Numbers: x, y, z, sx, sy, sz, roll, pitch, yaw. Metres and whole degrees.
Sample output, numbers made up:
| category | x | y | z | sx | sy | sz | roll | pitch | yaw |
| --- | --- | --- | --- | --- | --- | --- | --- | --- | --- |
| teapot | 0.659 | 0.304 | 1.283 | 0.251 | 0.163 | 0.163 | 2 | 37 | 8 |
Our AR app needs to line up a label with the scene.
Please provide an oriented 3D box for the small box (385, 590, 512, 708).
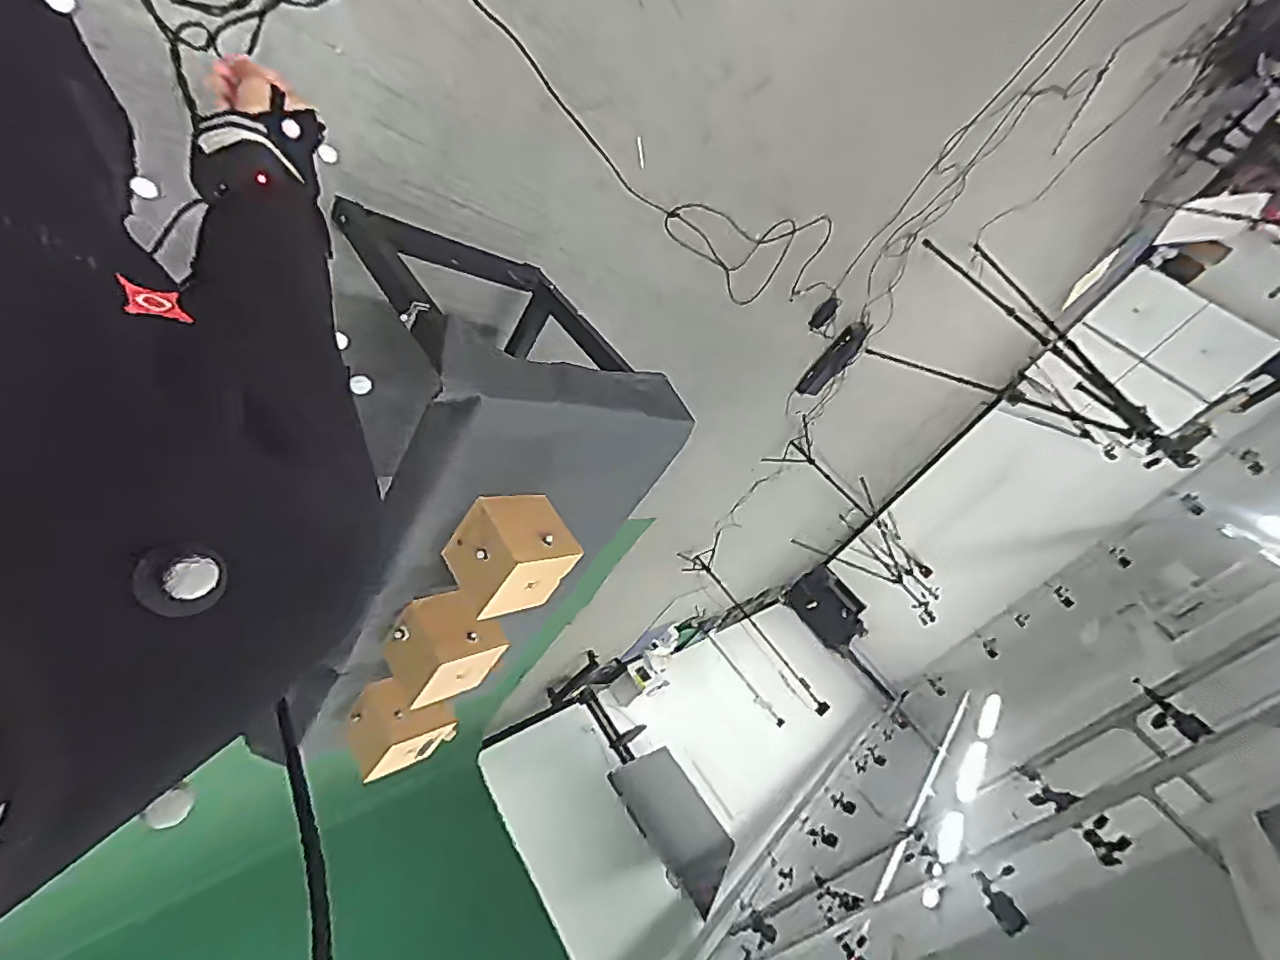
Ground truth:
| category | x | y | z | sx | sy | sz | roll | pitch | yaw |
| --- | --- | --- | --- | --- | --- | --- | --- | --- | --- |
| small box | -0.424 | 0.362 | 1.194 | 0.179 | 0.176 | 0.168 | 0 | 133 | -53 |

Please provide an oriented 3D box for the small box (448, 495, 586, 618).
| category | x | y | z | sx | sy | sz | roll | pitch | yaw |
| --- | --- | --- | --- | --- | --- | --- | --- | --- | --- |
| small box | -0.249 | 0.142 | 1.074 | 0.179 | 0.176 | 0.168 | -1 | 135 | -55 |
